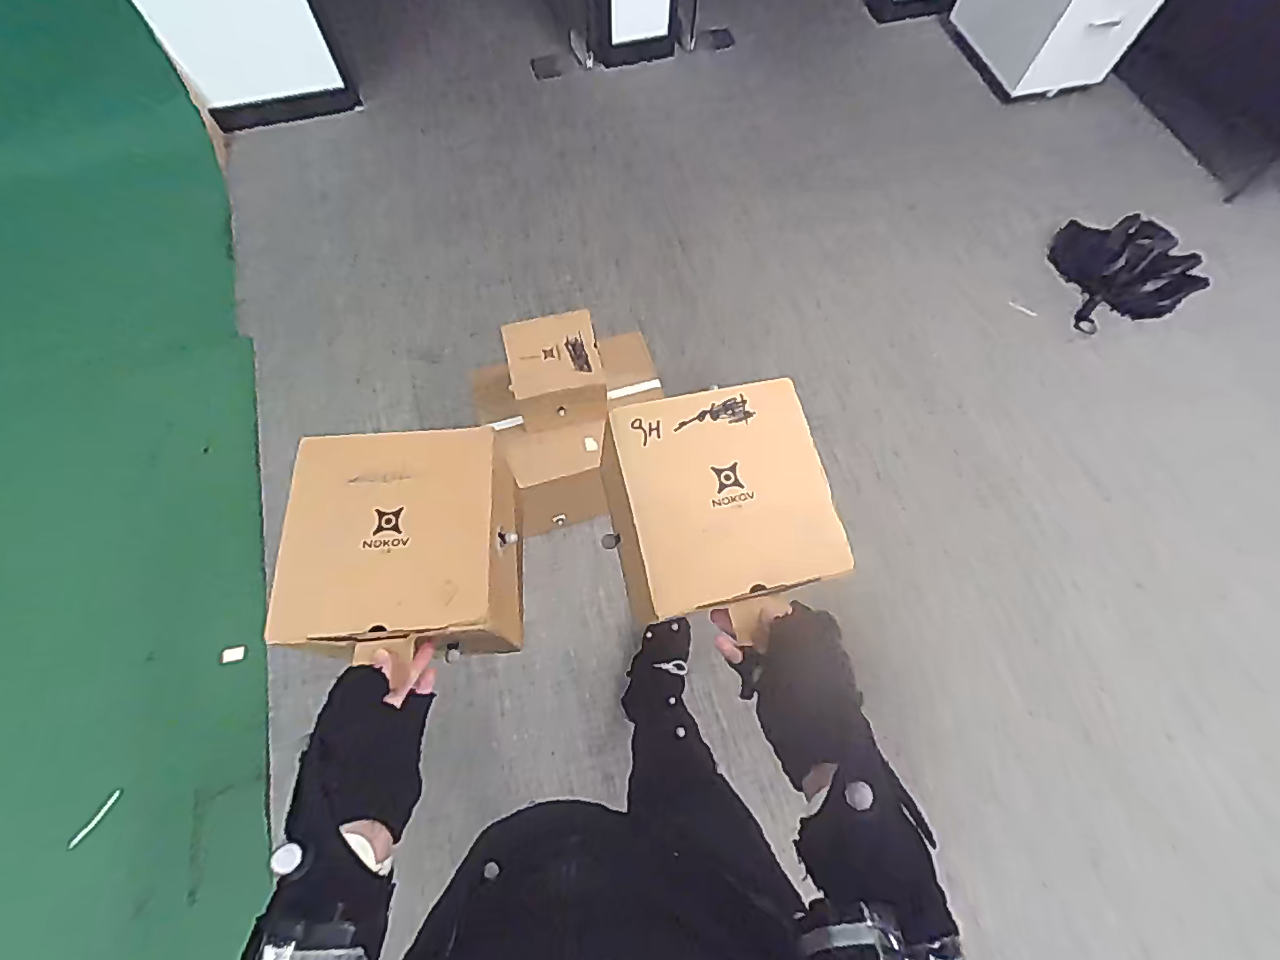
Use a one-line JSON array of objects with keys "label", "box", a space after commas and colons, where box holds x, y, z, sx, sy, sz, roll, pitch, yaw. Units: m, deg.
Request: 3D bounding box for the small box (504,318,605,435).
[{"label": "small box", "box": [-0.172, -0.207, 1.109, 0.179, 0.176, 0.168, -9, 72, -6]}]
